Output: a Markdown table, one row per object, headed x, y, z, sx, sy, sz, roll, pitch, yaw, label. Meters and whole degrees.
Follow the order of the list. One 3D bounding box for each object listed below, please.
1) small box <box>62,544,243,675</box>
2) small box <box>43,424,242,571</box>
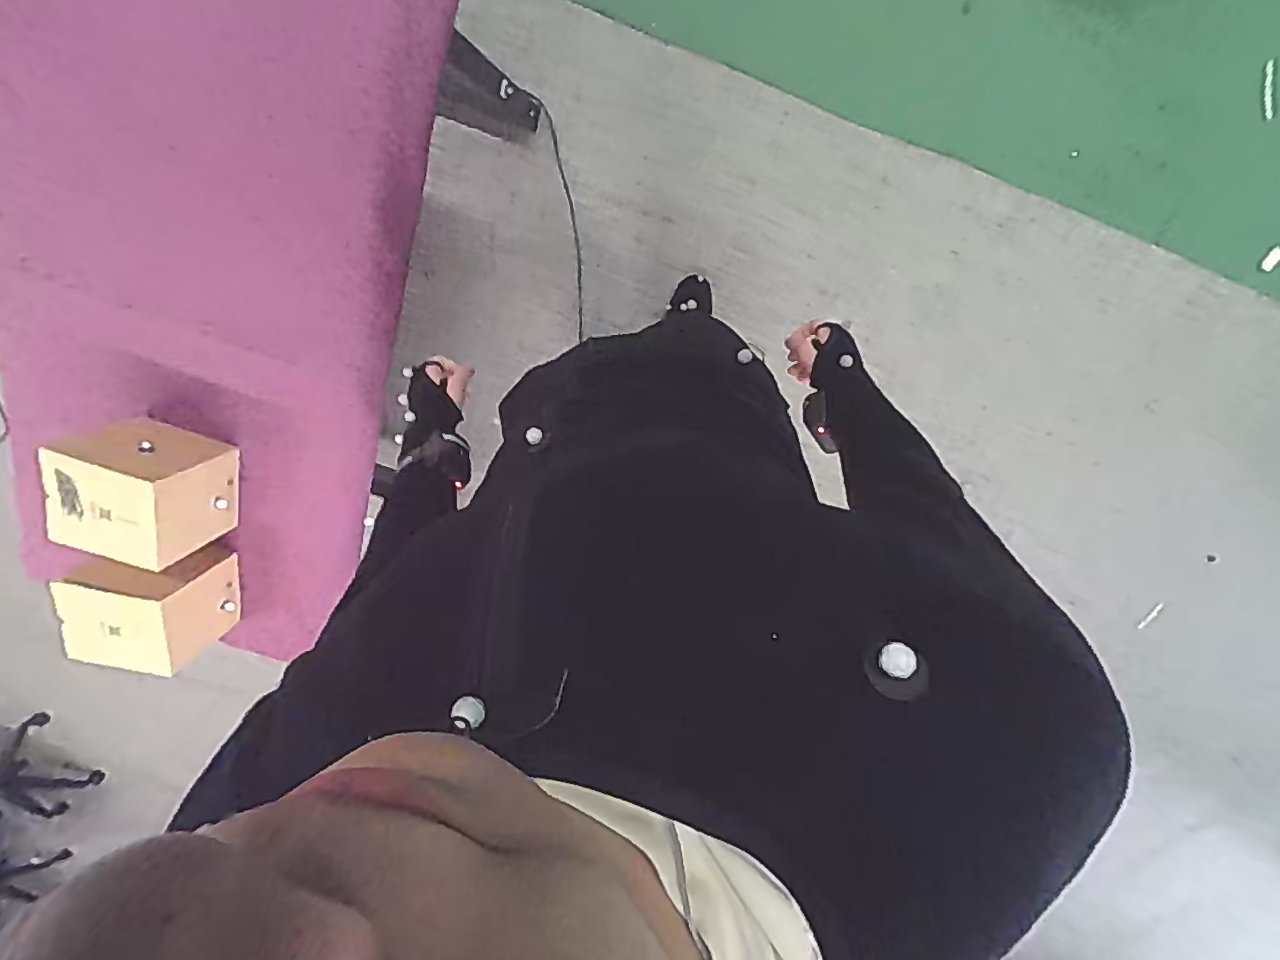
| x | y | z | sx | sy | sz | roll | pitch | yaw | label |
| --- | --- | --- | --- | --- | --- | --- | --- | --- | --- |
| -0.876 | 0.219 | 0.991 | 0.179 | 0.176 | 0.168 | 14 | 113 | 0 | small box |
| -0.814 | 0.019 | 0.902 | 0.179 | 0.176 | 0.168 | 18 | 113 | -2 | small box |
